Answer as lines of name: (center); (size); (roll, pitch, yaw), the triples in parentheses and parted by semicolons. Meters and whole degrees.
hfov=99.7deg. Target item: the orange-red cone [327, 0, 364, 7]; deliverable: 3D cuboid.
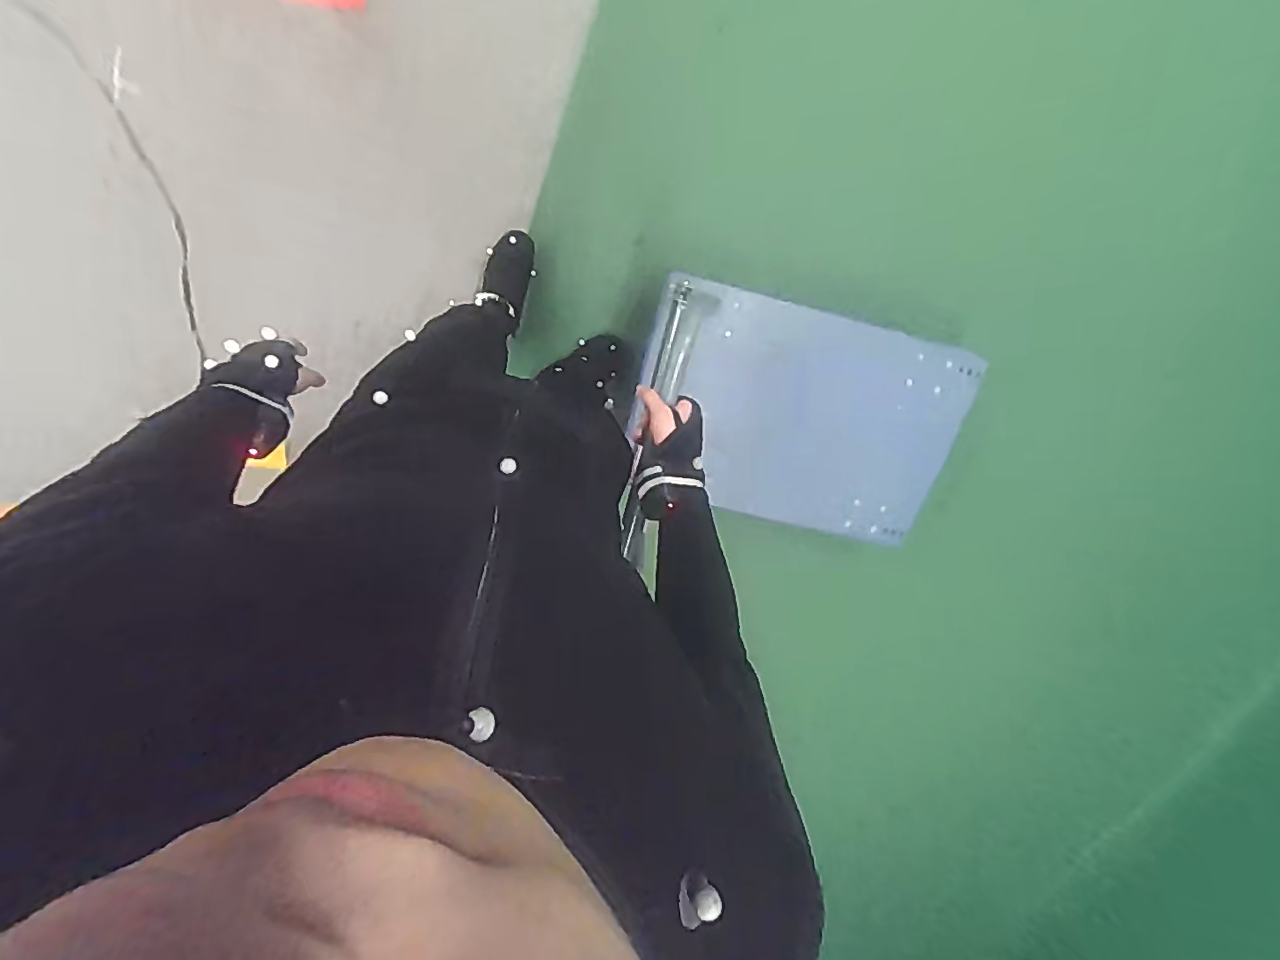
orange-red cone: (-0.696, -1.109, 1.020); (0.198, 0.360, 0.199); (6, 110, -5)
